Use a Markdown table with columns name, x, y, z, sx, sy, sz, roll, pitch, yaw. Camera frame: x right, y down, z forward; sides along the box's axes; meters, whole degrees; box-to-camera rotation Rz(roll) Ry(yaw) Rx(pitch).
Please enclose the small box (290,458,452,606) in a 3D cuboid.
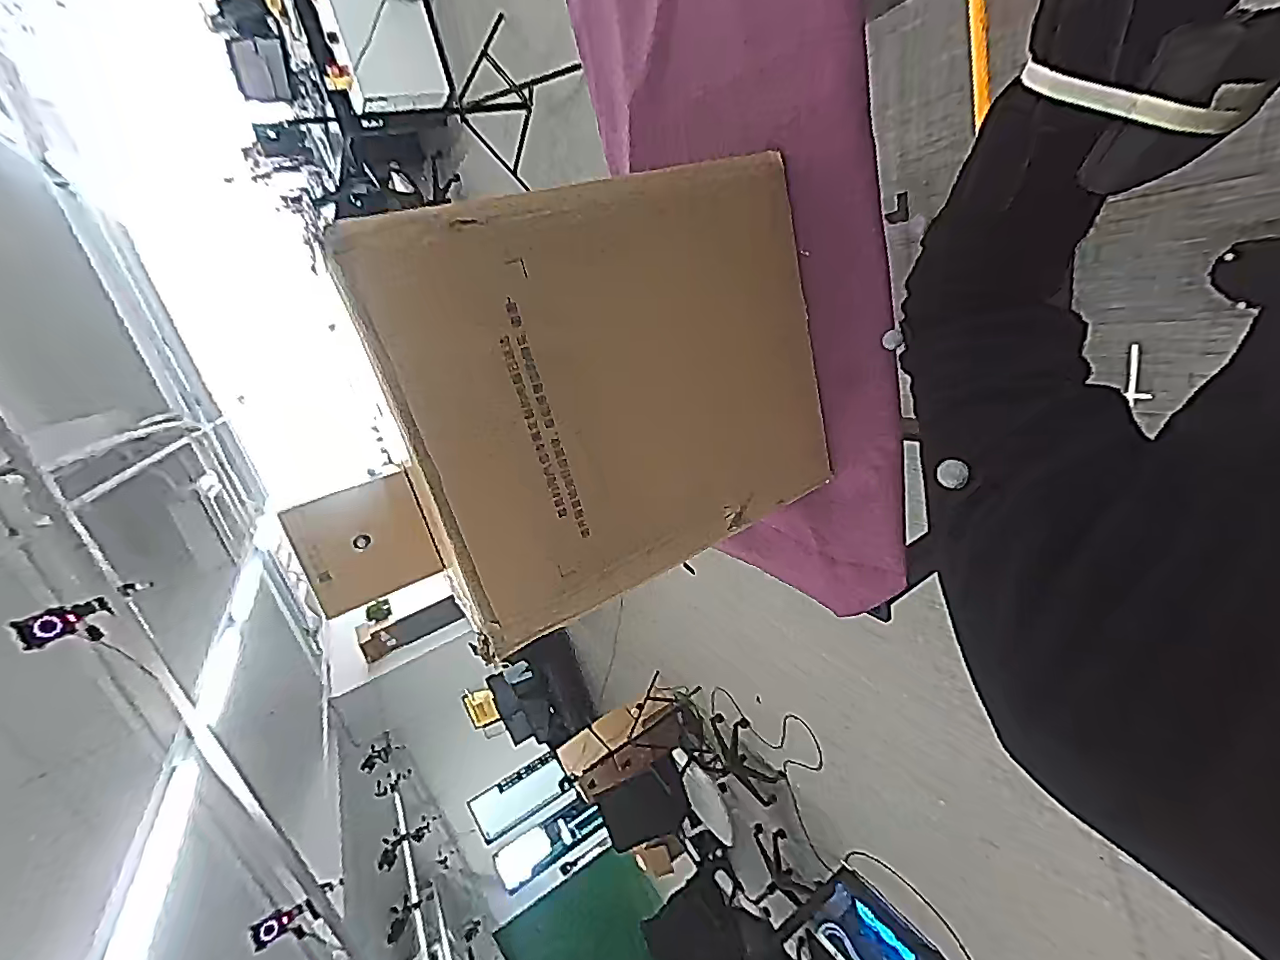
| name | x | y | z | sx | sy | sz | roll | pitch | yaw |
| --- | --- | --- | --- | --- | --- | --- | --- | --- | --- |
| small box | -0.414 | 0.073 | 0.837 | 0.179 | 0.176 | 0.168 | 10 | 119 | 62 |
